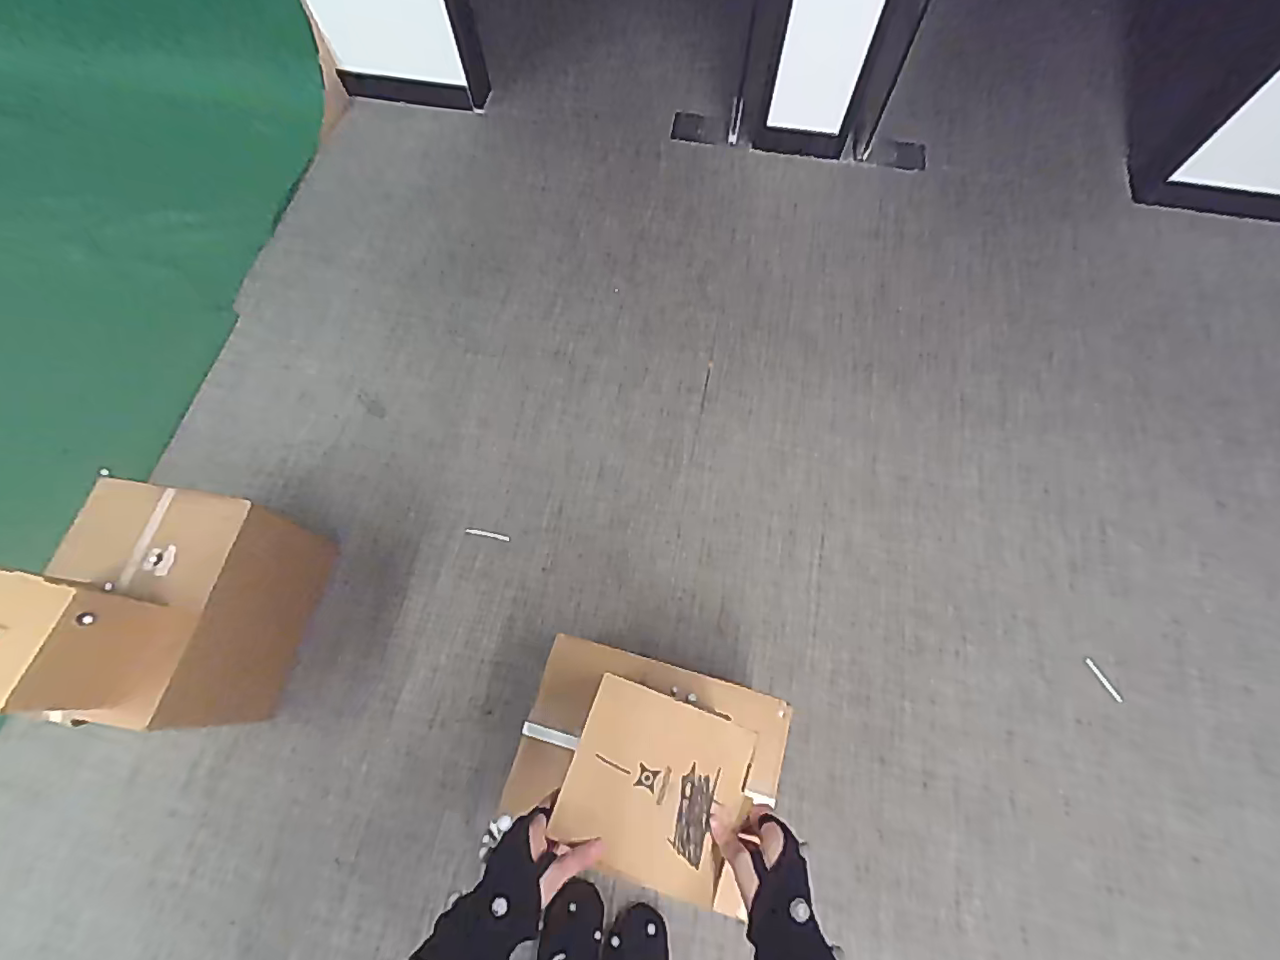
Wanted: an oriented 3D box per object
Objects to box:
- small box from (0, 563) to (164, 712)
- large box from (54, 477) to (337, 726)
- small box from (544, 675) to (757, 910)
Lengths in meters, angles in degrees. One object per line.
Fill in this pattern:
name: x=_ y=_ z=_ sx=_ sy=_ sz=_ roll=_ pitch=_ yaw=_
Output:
small box: x=-0.906 y=0.245 z=0.833 sx=0.168 sy=0.176 sz=0.179 roll=13 pitch=68 yaw=4
large box: x=-0.904 y=0.255 z=1.093 sx=0.320 sy=0.320 sz=0.408 roll=10 pitch=68 yaw=4
small box: x=0.015 y=0.337 z=0.622 sx=0.179 sy=0.176 sz=0.168 roll=19 pitch=70 yaw=9
